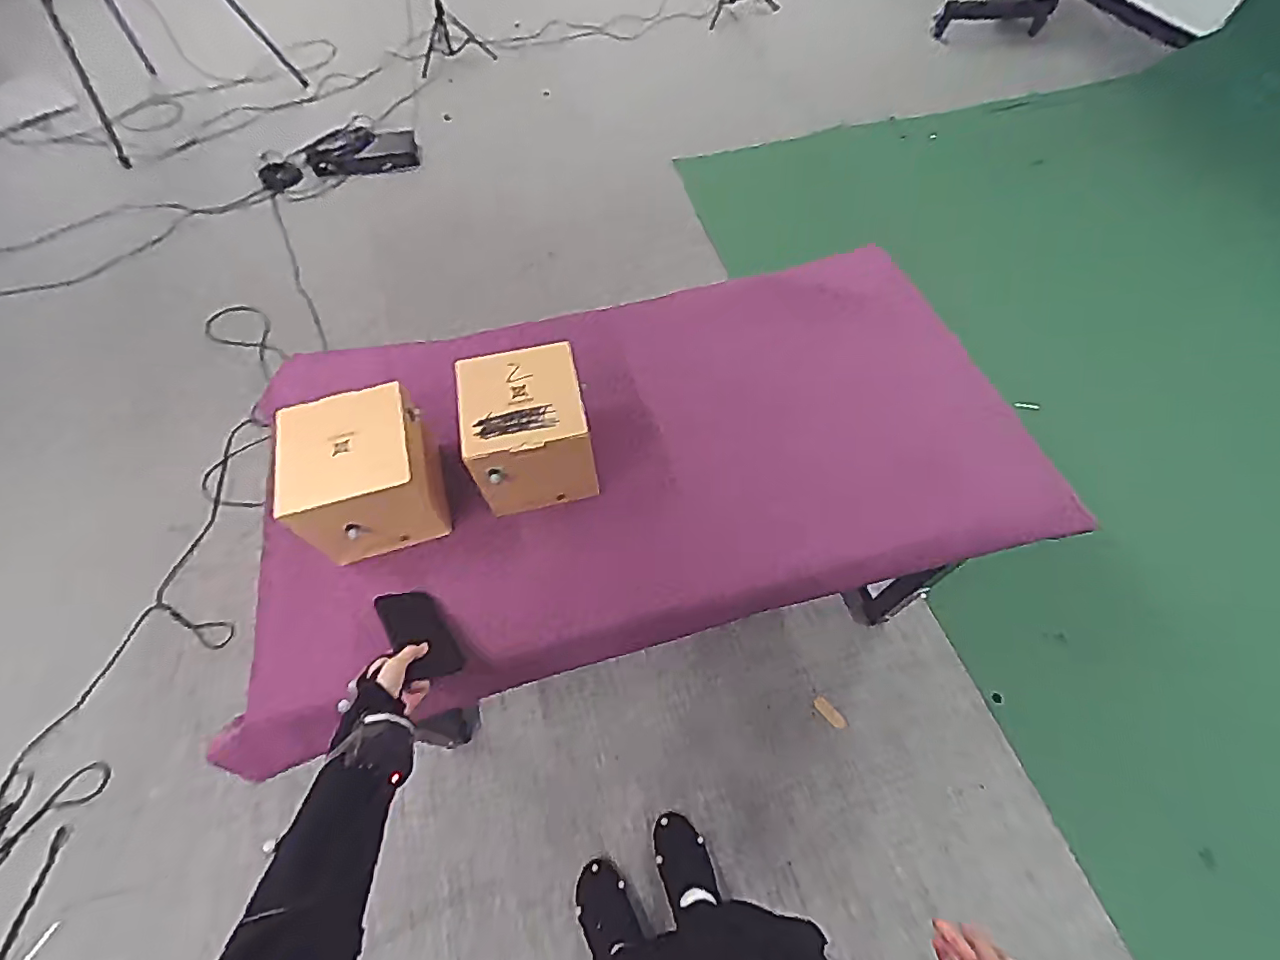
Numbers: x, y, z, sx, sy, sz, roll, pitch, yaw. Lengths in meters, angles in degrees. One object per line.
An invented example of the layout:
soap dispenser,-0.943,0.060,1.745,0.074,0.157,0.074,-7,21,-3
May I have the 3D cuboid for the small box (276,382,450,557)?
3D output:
small box,-0.386,-0.005,0.776,0.168,0.176,0.179,-16,60,-8
